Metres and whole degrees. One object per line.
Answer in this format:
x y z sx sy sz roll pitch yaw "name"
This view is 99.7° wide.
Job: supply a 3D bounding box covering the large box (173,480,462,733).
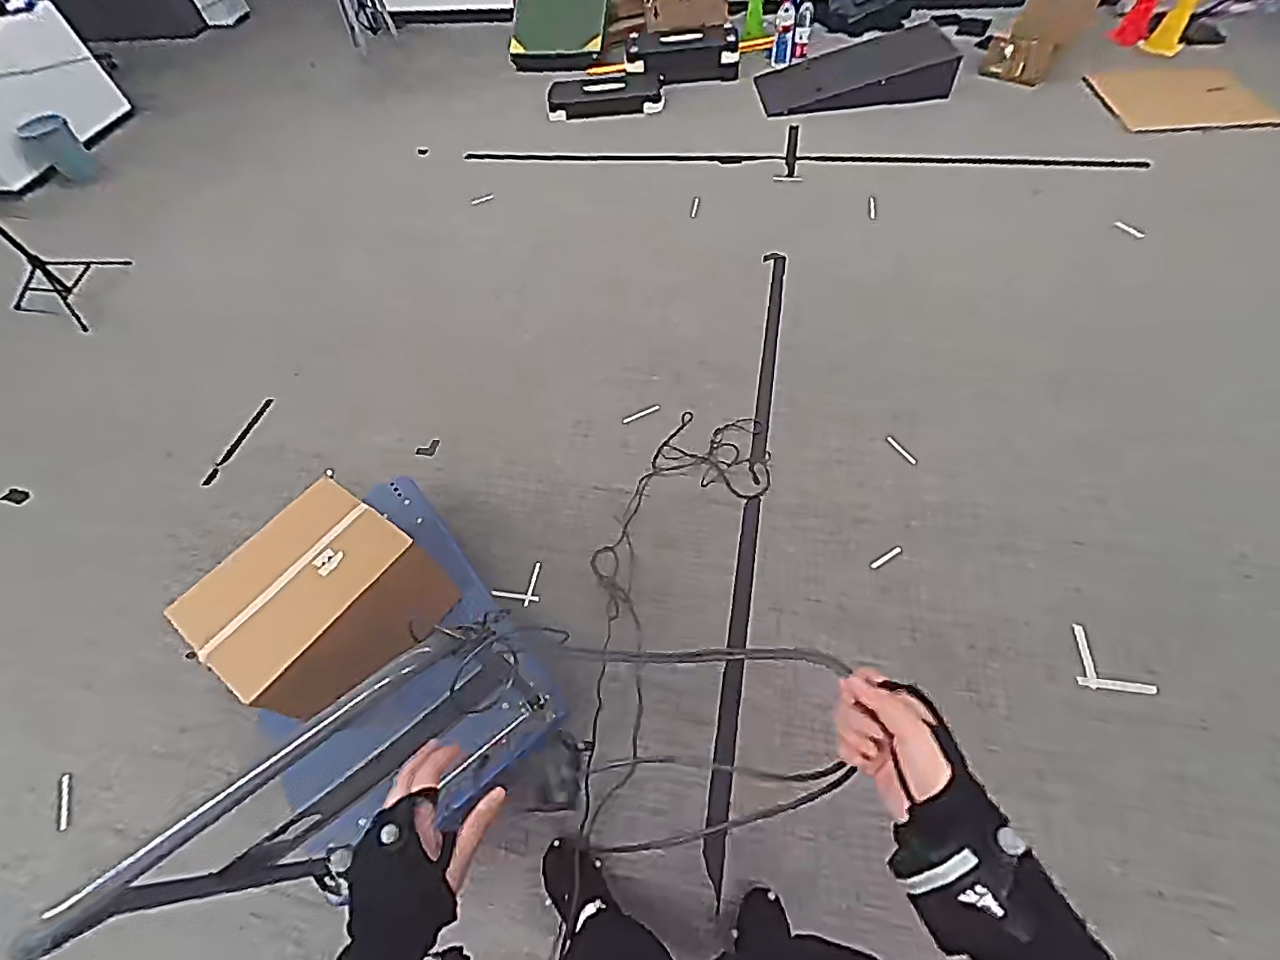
-0.696 0.288 1.233 0.320 0.320 0.408 30 64 21 "large box"
